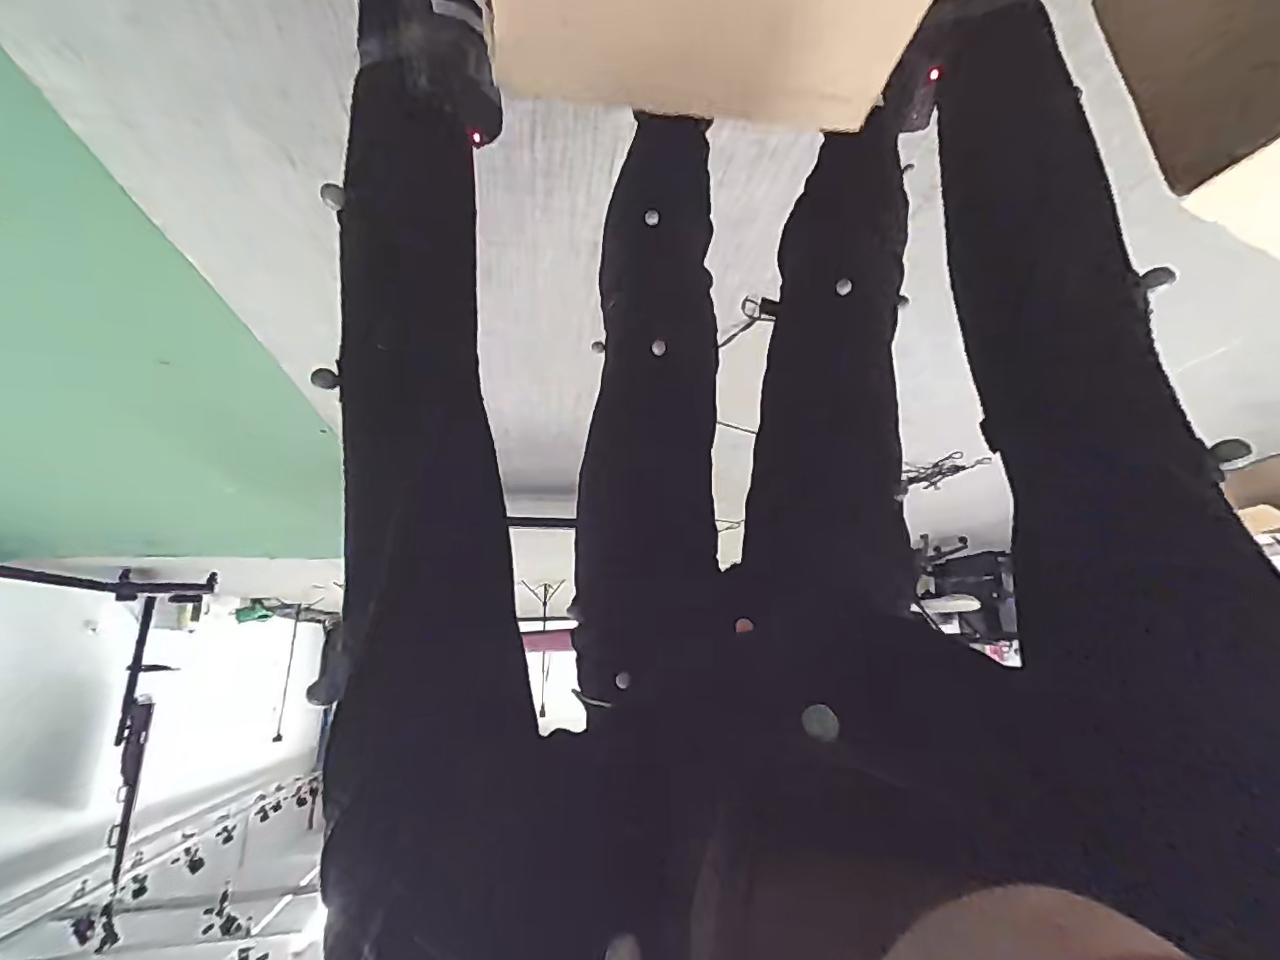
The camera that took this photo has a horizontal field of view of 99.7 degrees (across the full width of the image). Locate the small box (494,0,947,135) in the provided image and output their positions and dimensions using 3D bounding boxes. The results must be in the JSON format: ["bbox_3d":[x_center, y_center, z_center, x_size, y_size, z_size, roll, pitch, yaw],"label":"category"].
[{"bbox_3d":[0.035,-0.272,0.199,0.179,0.176,0.168,0,162,-9],"label":"small box"}]

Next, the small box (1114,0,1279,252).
[{"bbox_3d":[0.413,-0.253,0.293,0.179,0.176,0.168,6,160,-23],"label":"small box"}]
